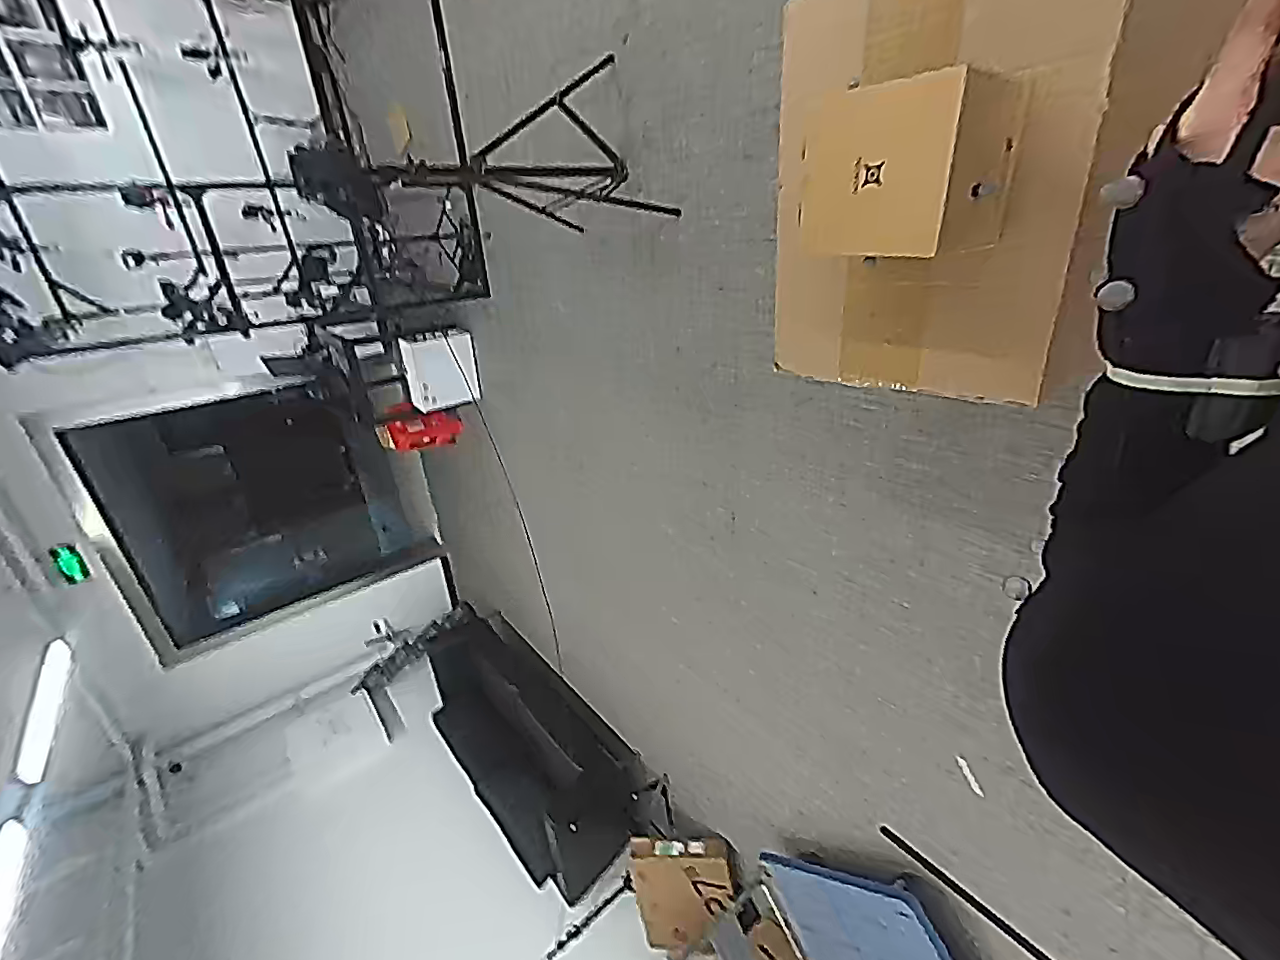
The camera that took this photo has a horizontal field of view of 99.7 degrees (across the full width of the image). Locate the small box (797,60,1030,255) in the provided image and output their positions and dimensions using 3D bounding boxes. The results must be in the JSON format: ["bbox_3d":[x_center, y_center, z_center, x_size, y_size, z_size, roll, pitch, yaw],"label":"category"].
[{"bbox_3d":[0.305,-0.354,0.616,0.179,0.176,0.168,26,129,46],"label":"small box"}]
